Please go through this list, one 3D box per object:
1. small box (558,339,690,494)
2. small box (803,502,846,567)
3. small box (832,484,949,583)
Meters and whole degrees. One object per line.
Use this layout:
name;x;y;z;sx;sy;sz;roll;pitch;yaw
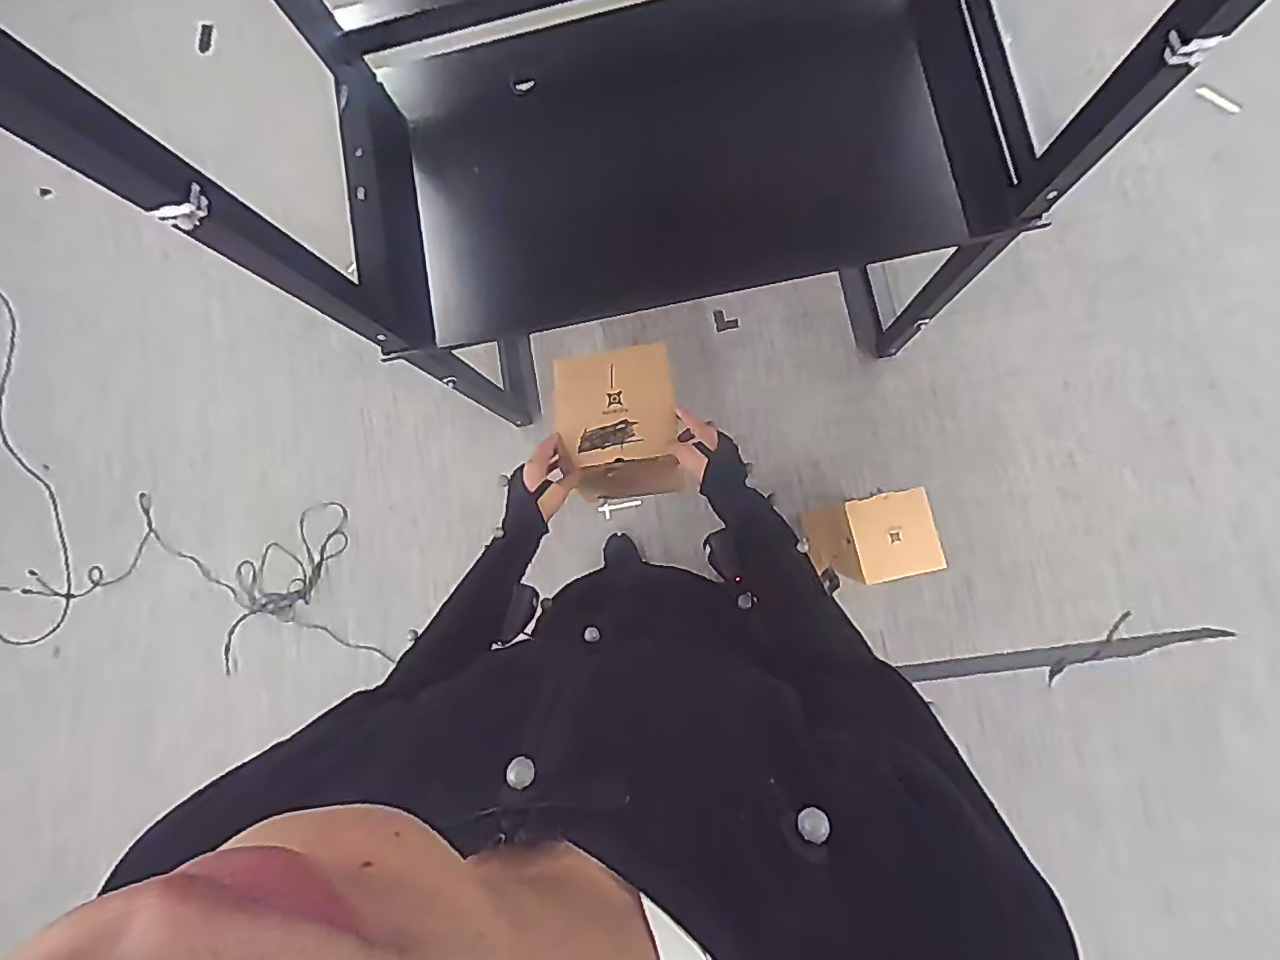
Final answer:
small box;-0.018;-0.083;0.812;0.168;0.176;0.179;-7;71;6
small box;0.572;0.142;1.505;0.179;0.176;0.168;-12;83;6
small box;0.537;0.115;1.181;0.168;0.176;0.179;-14;83;6
